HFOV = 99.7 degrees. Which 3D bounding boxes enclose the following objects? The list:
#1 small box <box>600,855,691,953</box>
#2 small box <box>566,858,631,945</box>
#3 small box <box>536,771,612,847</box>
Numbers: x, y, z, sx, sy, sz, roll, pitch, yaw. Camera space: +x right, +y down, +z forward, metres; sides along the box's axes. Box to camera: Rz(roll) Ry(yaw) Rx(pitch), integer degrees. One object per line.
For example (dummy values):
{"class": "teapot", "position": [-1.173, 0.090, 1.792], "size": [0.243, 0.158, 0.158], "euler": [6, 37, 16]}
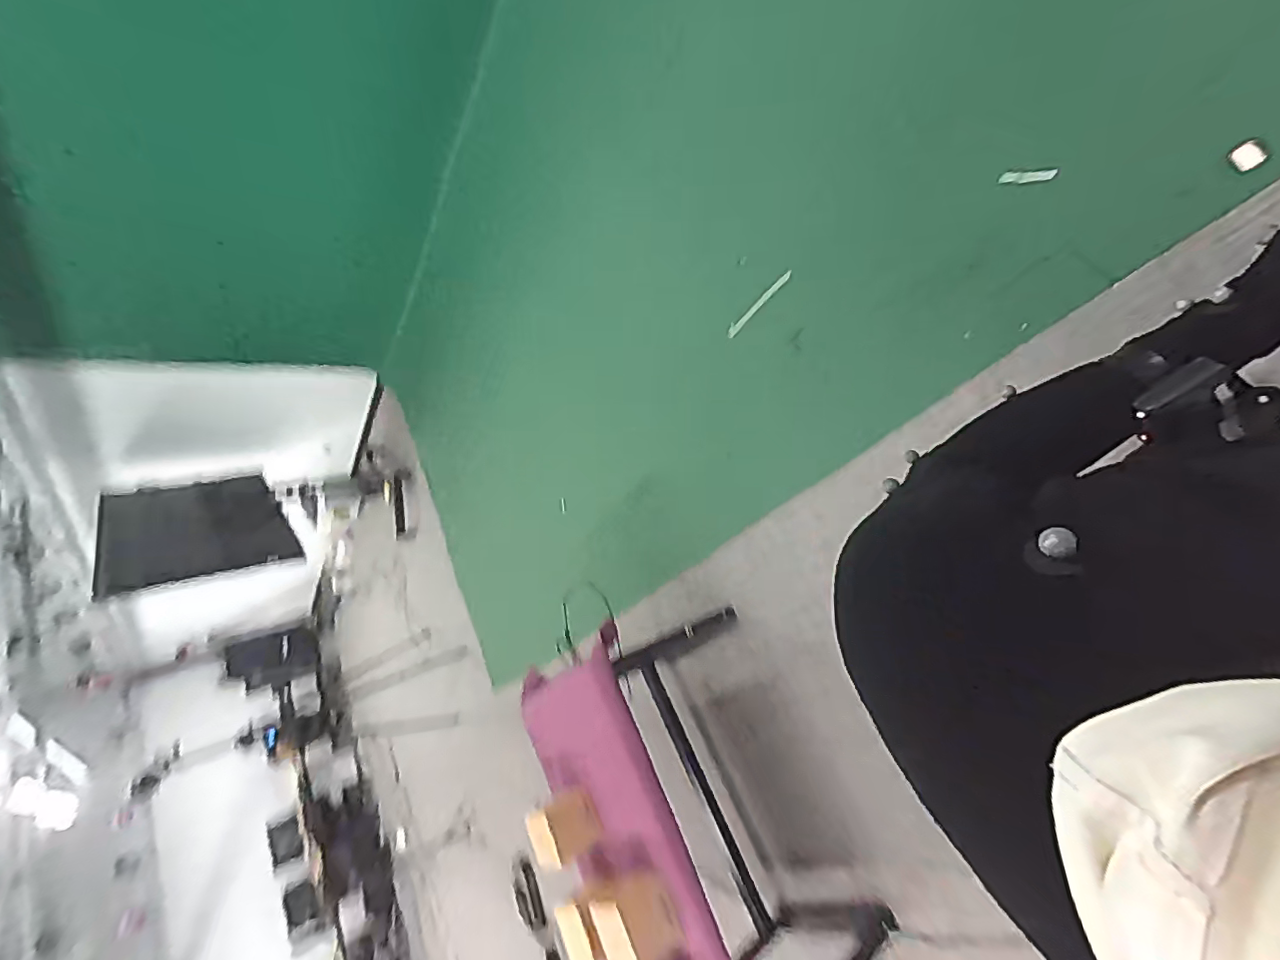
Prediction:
{"class": "small box", "position": [0.017, 1.235, 1.588], "size": [0.179, 0.176, 0.168], "euler": [-45, 64, 44]}
{"class": "small box", "position": [-0.112, 1.371, 1.769], "size": [0.179, 0.176, 0.168], "euler": [-45, 63, 43]}
{"class": "small box", "position": [-0.225, 1.126, 1.851], "size": [0.179, 0.176, 0.168], "euler": [-44, 65, 44]}
